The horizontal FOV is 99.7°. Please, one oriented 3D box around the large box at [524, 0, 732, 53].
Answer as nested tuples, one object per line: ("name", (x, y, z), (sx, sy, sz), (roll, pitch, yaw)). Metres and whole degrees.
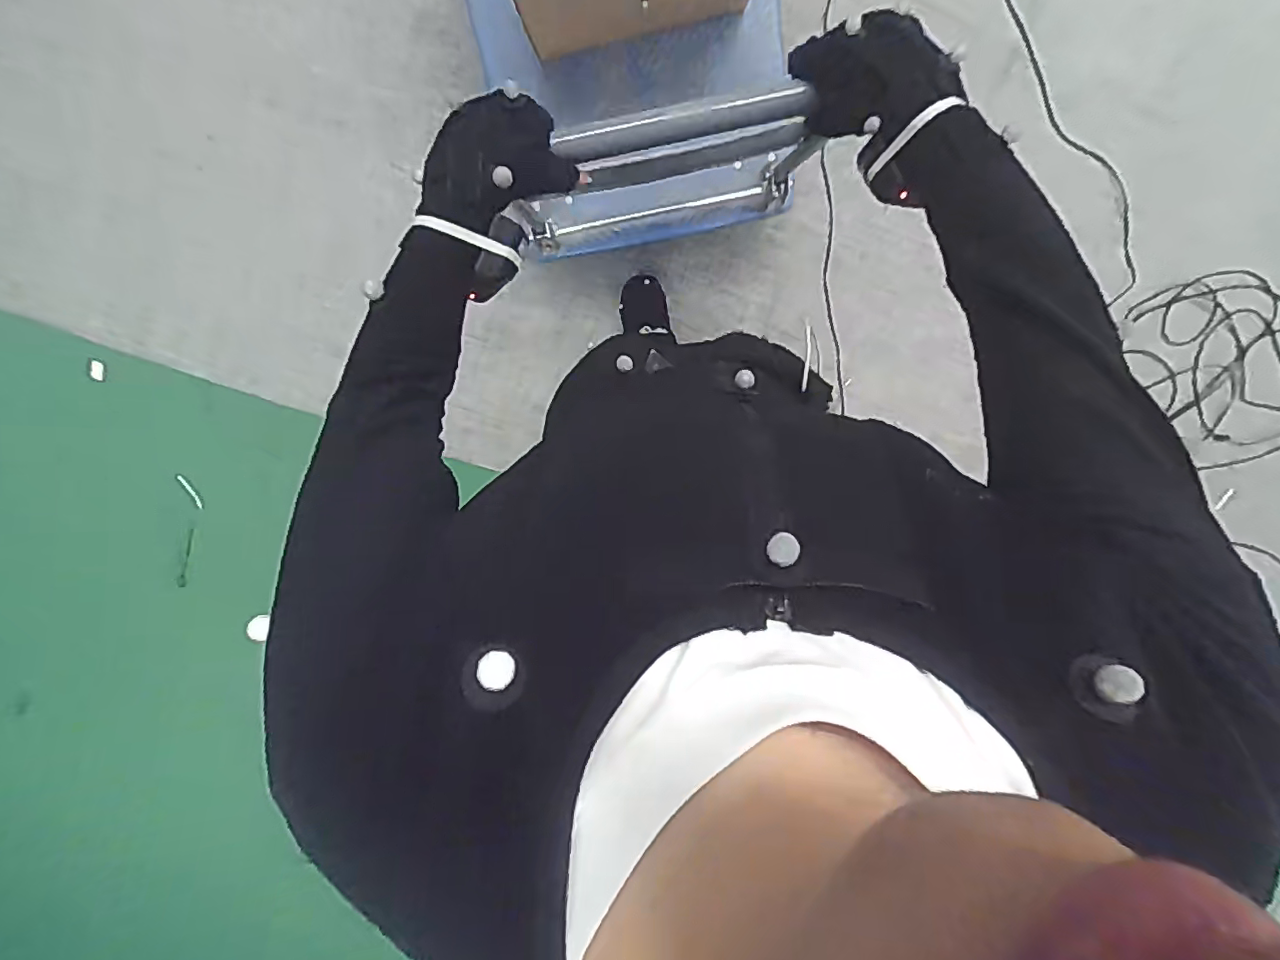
("large box", (-0.021, -0.948, 0.838), (0.408, 0.320, 0.320), (-12, 109, 4))
